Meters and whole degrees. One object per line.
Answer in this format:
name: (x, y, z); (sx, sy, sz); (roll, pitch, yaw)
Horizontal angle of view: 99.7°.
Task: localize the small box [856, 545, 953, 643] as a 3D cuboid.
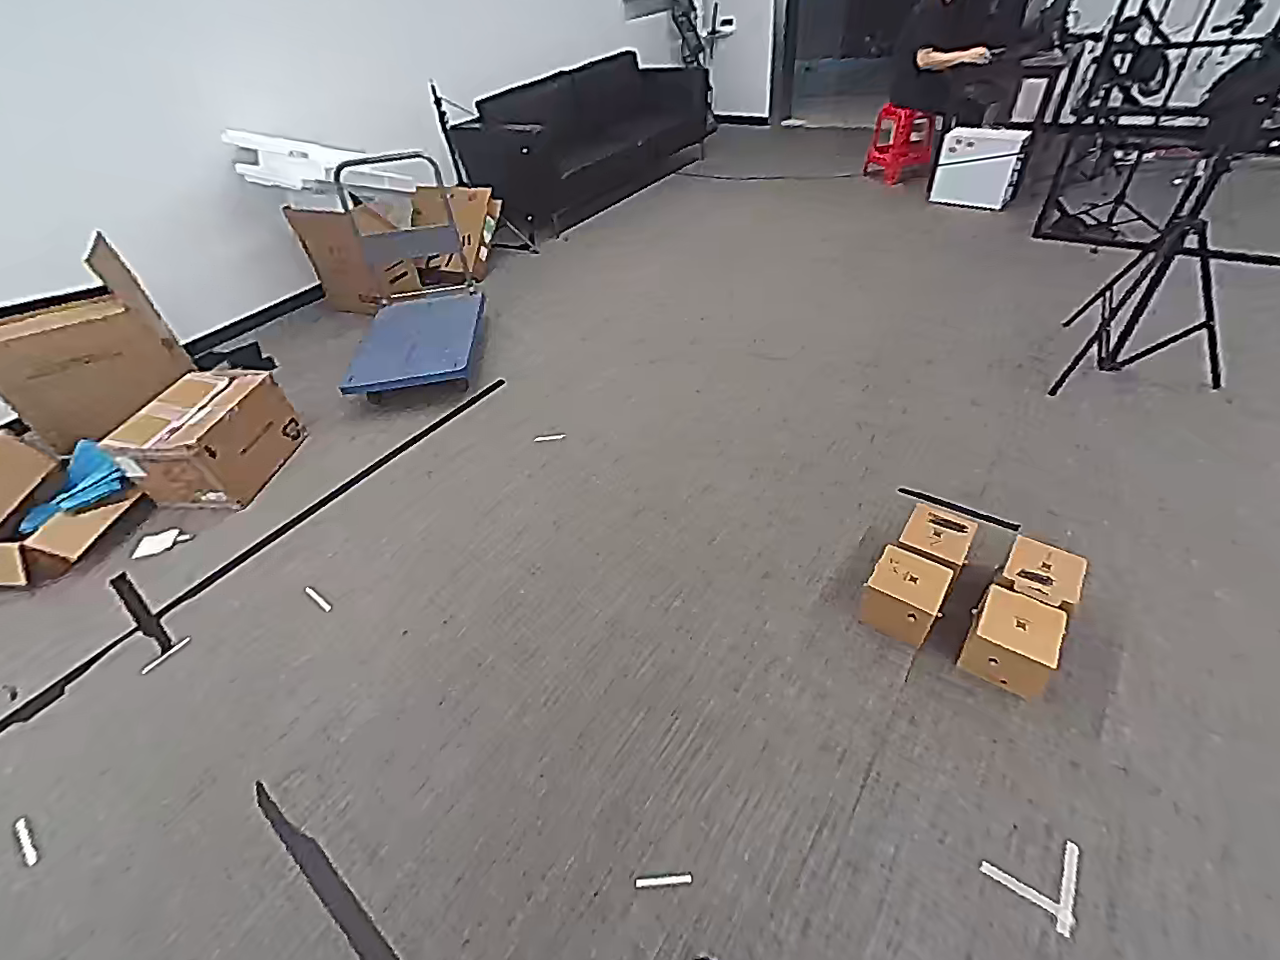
small box: (0.710, 0.314, 1.466); (0.179, 0.176, 0.168); (24, 52, 30)
